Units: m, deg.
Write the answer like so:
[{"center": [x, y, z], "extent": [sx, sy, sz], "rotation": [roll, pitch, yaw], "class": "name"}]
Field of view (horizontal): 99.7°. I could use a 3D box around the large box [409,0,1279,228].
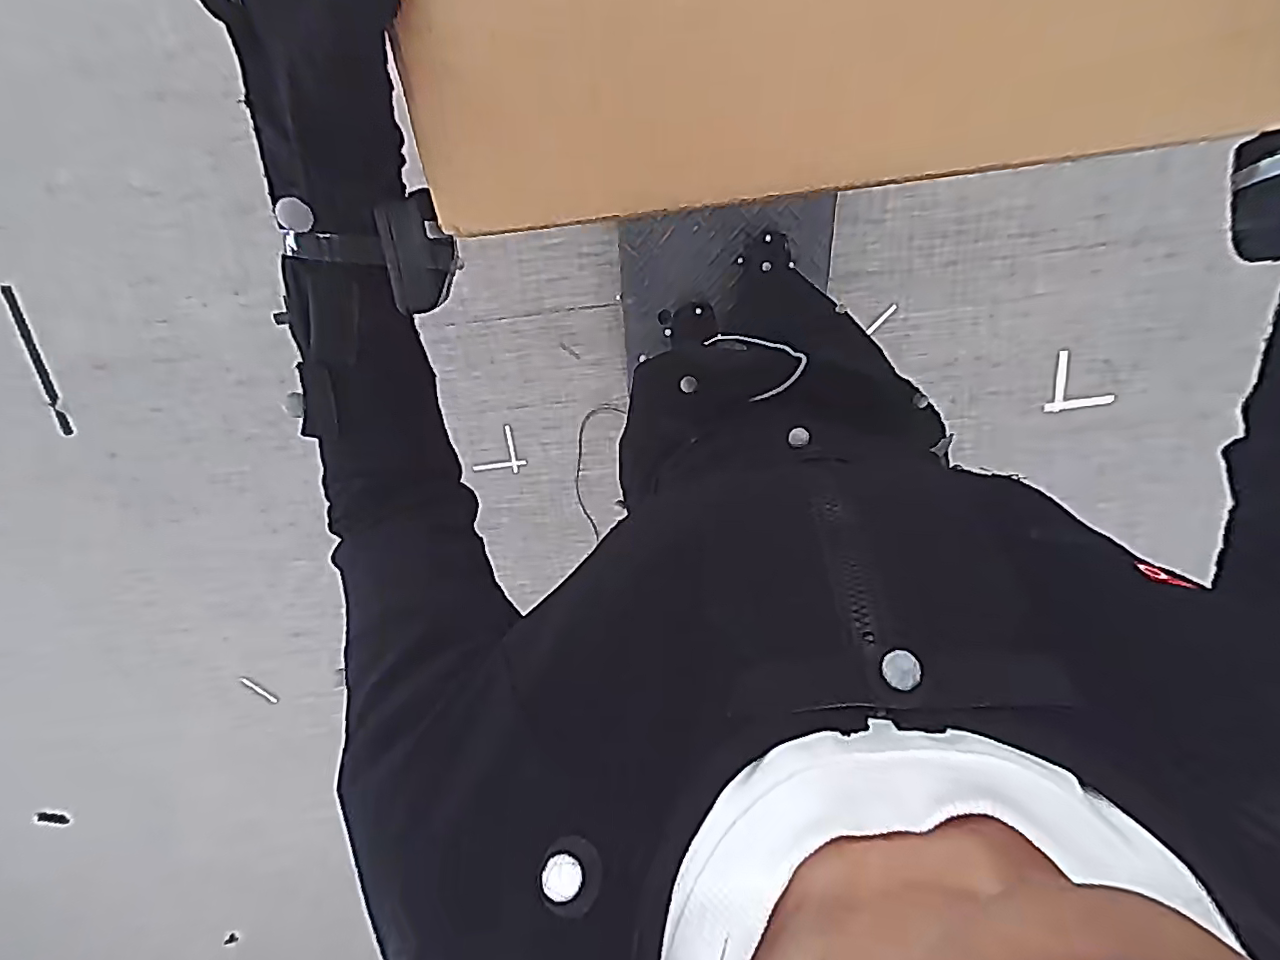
[{"center": [0.085, -0.361, 0.343], "extent": [0.408, 0.320, 0.320], "rotation": [-5, 117, 6], "class": "large box"}]
